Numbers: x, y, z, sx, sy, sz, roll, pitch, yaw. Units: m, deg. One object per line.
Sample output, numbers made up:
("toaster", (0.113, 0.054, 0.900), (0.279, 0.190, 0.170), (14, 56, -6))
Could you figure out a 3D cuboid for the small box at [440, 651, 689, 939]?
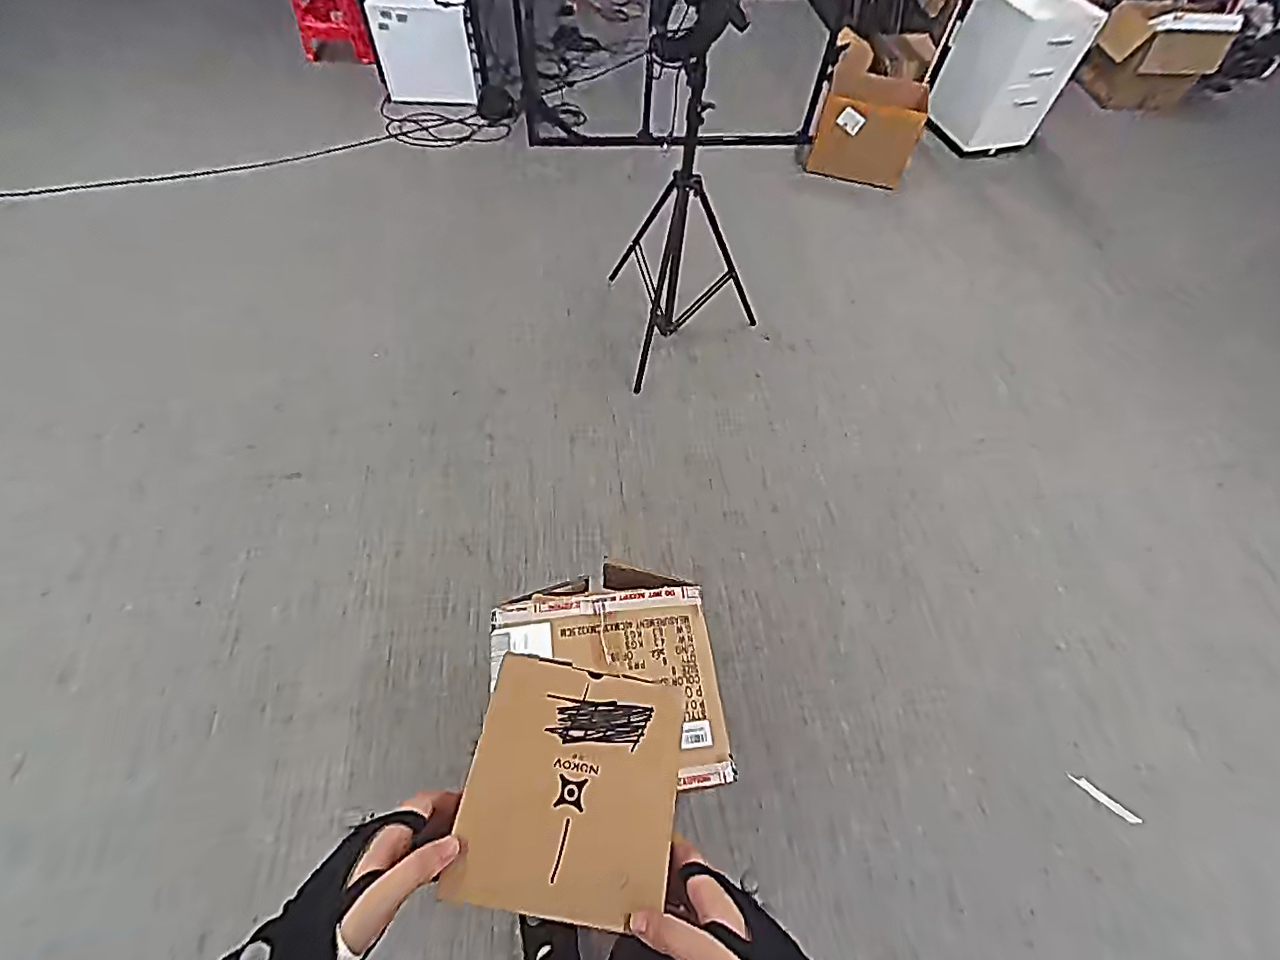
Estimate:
("small box", (-0.063, 0.279, 0.492), (0.168, 0.176, 0.179), (13, 57, -3))
